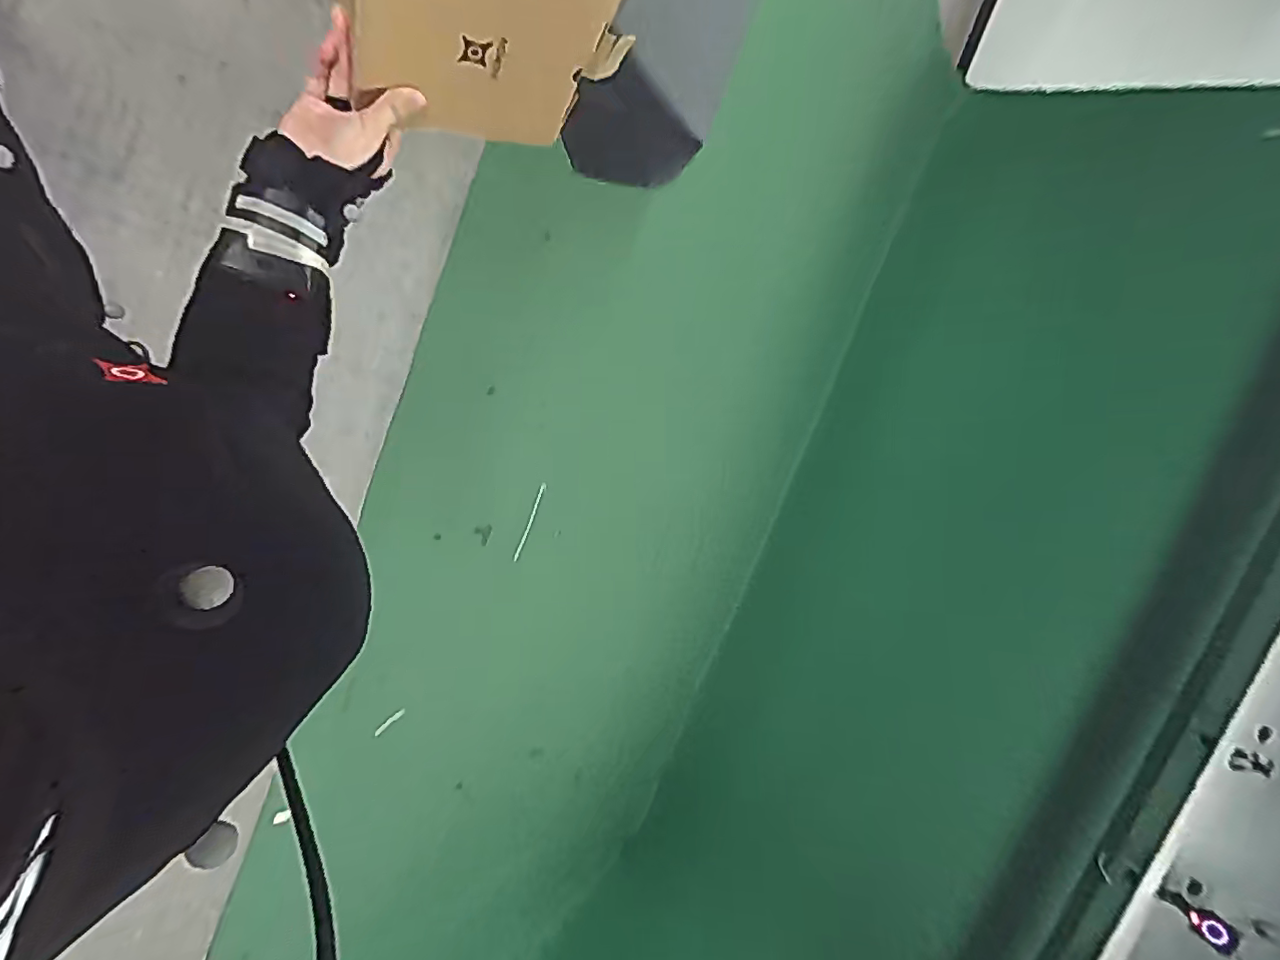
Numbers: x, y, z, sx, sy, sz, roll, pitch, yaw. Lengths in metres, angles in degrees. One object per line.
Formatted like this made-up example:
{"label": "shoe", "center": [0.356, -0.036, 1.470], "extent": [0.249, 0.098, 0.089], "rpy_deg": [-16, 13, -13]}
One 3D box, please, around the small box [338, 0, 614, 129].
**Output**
{"label": "small box", "center": [-0.133, -0.407, 0.400], "extent": [0.179, 0.168, 0.176], "rpy_deg": [-13, 86, -29]}
